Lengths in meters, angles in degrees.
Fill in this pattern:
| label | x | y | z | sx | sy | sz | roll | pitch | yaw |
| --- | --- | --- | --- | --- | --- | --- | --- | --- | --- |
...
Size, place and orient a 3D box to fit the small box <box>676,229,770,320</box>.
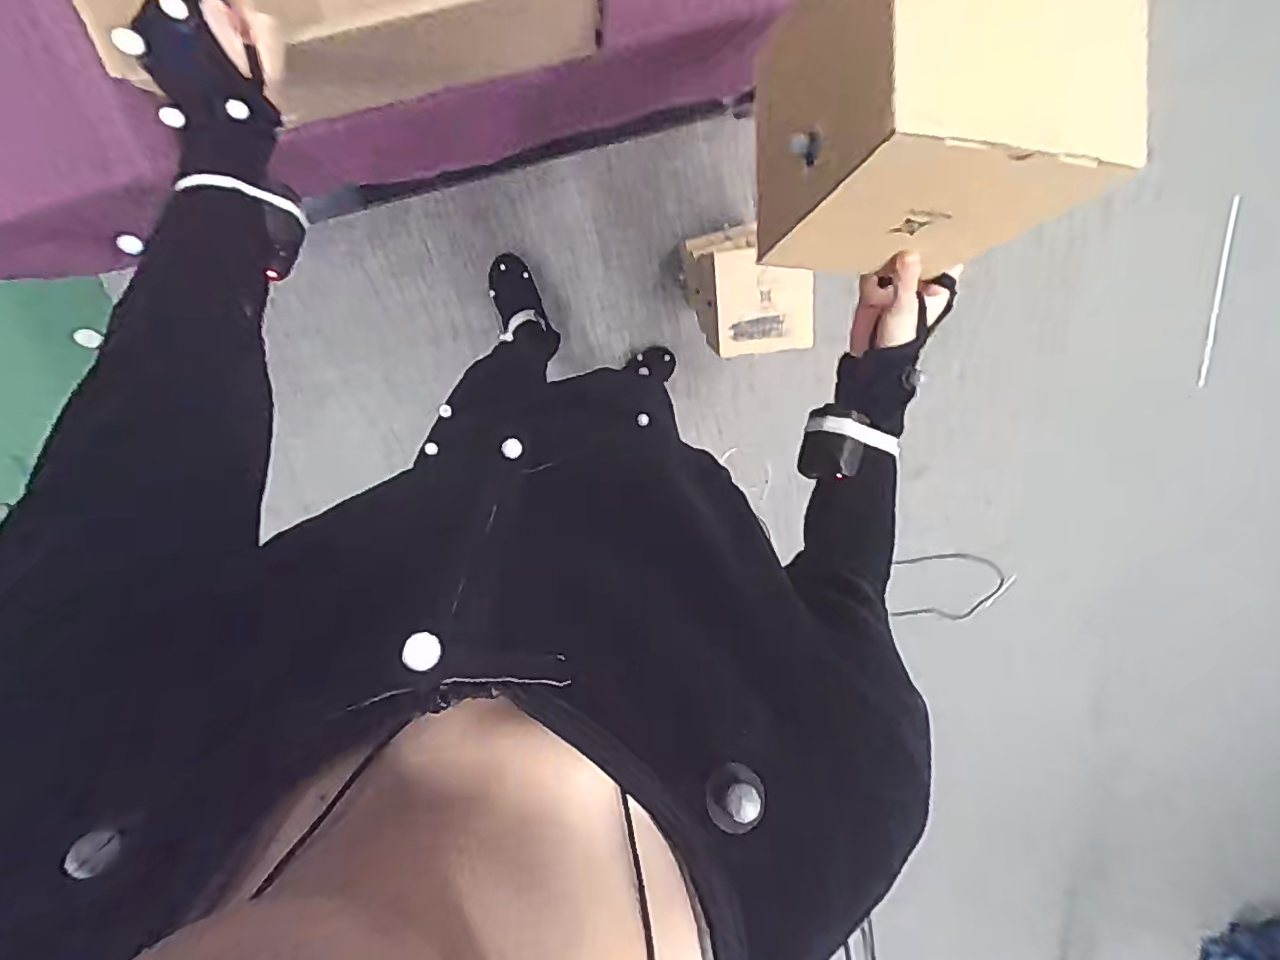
| label | x | y | z | sx | sy | sz | roll | pitch | yaw |
| --- | --- | --- | --- | --- | --- | --- | --- | --- | --- |
| small box | 0.193 | -0.489 | 1.282 | 0.179 | 0.176 | 0.168 | -13 | 112 | 4 |
